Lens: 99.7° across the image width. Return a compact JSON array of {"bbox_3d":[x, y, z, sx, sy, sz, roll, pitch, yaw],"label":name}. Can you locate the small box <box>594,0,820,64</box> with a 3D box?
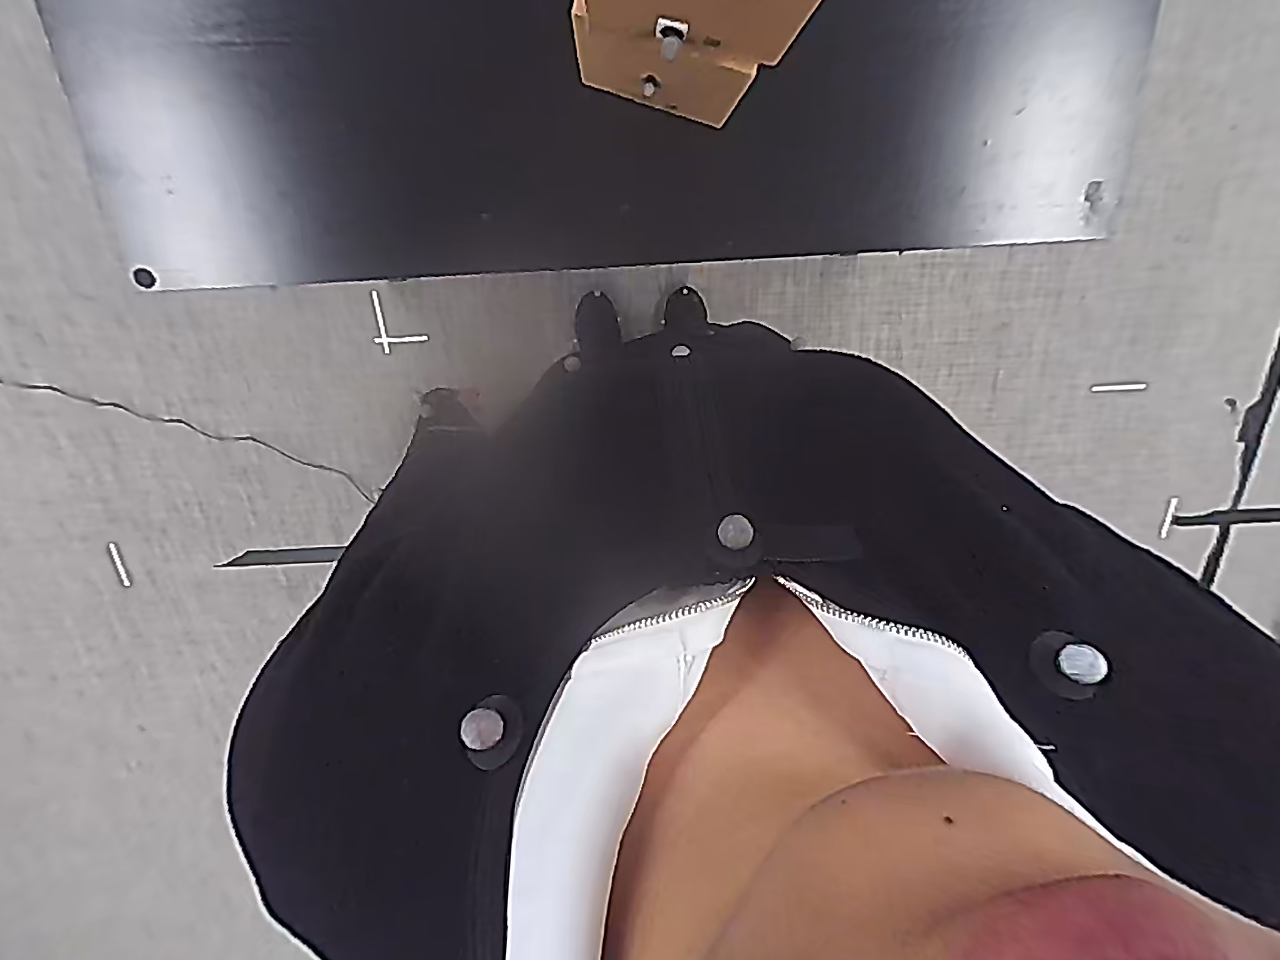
[{"bbox_3d":[0.051,-0.426,0.366,0.168,0.176,0.179,5,110,-3],"label":"small box"}]

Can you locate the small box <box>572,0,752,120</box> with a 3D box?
[{"bbox_3d":[0.039,-0.482,0.518,0.168,0.176,0.179,14,108,-8],"label":"small box"}]
